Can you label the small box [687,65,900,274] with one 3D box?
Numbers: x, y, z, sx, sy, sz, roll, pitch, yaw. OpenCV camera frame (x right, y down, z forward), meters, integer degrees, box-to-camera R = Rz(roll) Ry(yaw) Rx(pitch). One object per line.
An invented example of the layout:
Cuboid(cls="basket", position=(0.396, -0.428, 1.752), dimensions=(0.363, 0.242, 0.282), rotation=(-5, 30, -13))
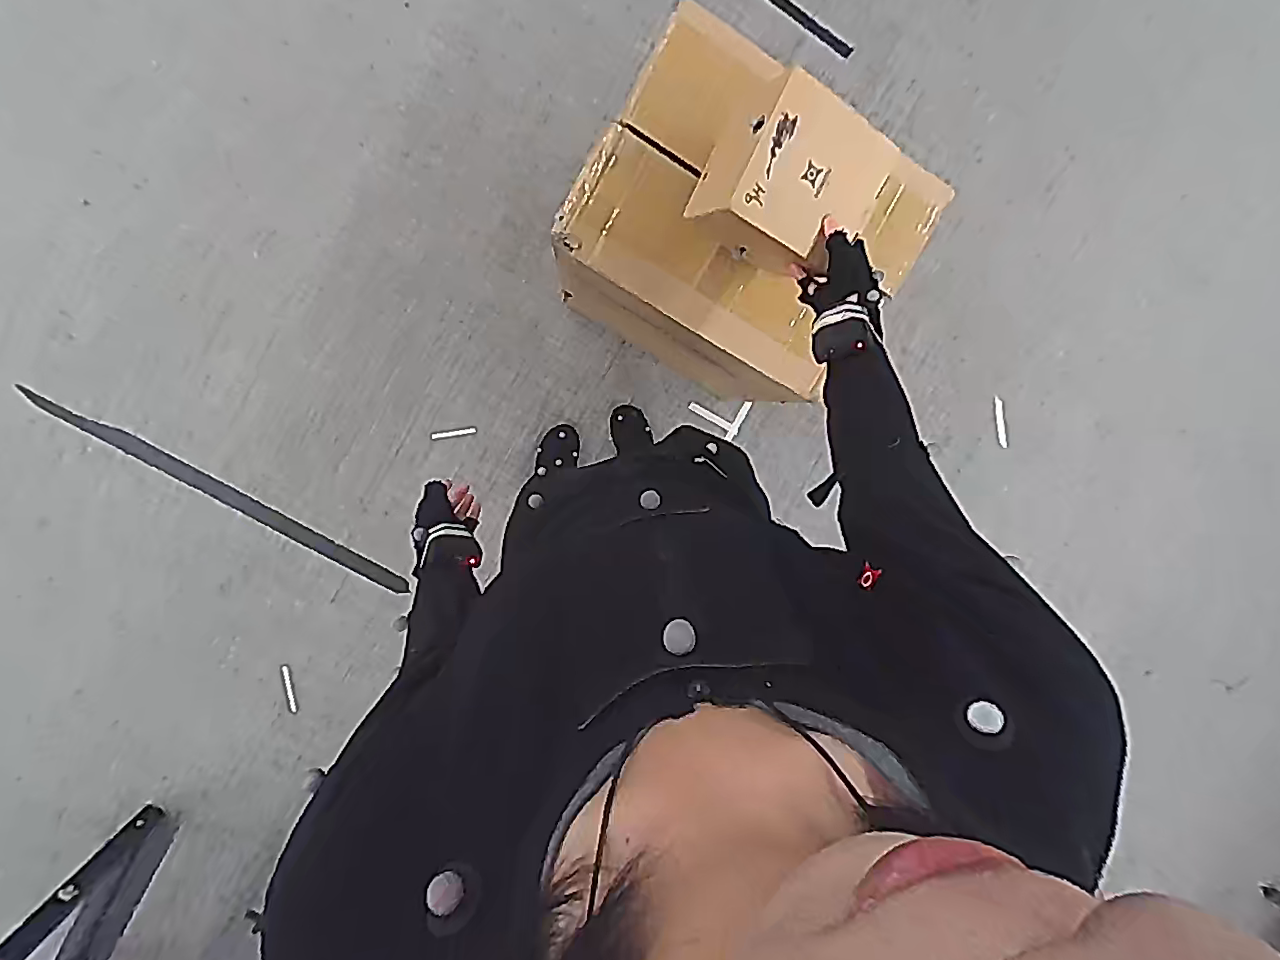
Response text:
Cuboid(cls="small box", position=(0.192, -0.393, 0.720), dimensions=(0.179, 0.176, 0.168), rotation=(21, 103, -21))
